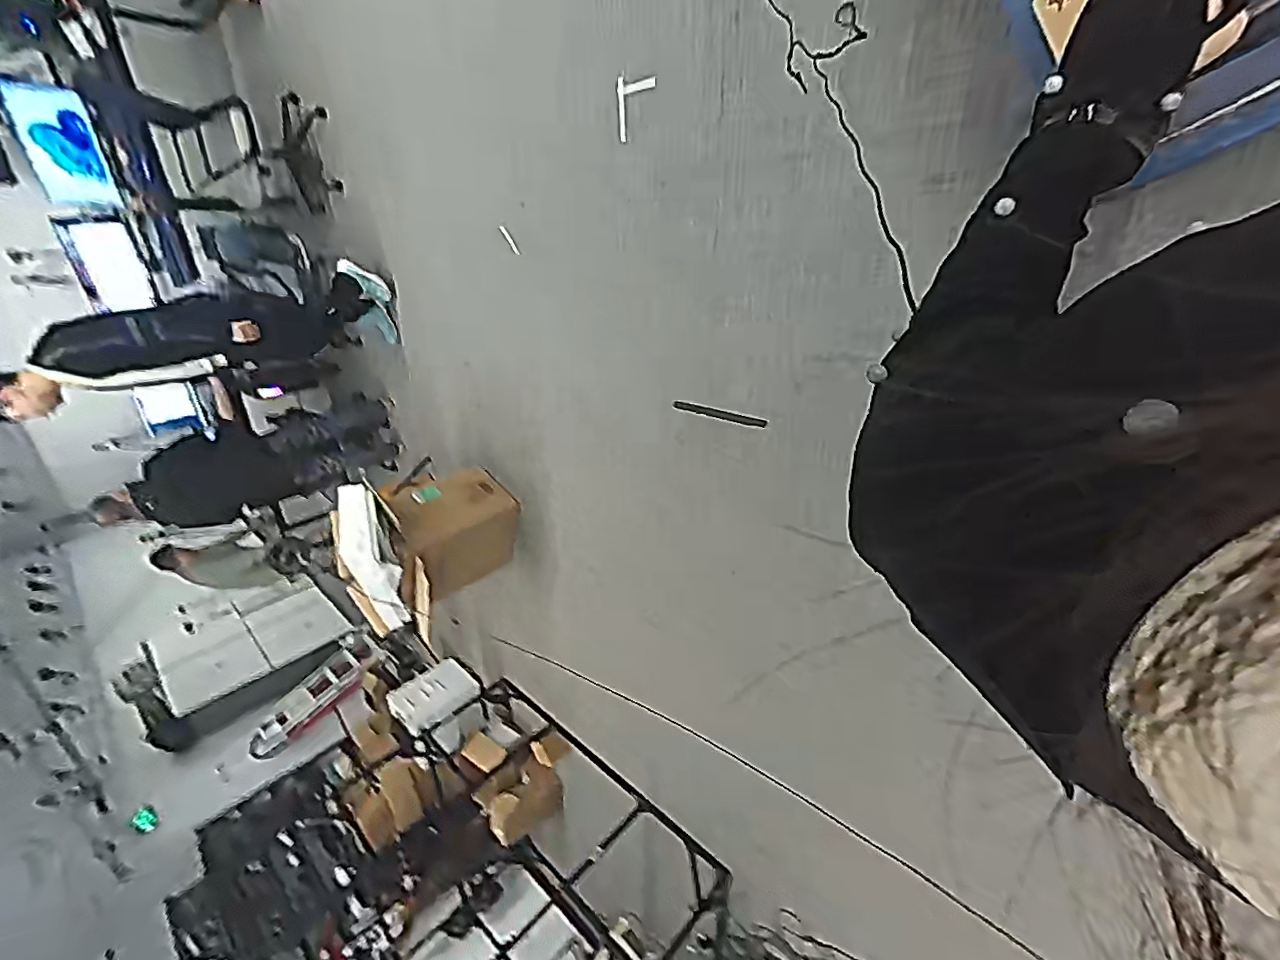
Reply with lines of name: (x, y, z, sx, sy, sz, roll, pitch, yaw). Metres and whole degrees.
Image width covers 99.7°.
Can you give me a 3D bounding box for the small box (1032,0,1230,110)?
small box: (0.716, -0.679, 0.792, 0.168, 0.176, 0.179, -24, 92, 48)
